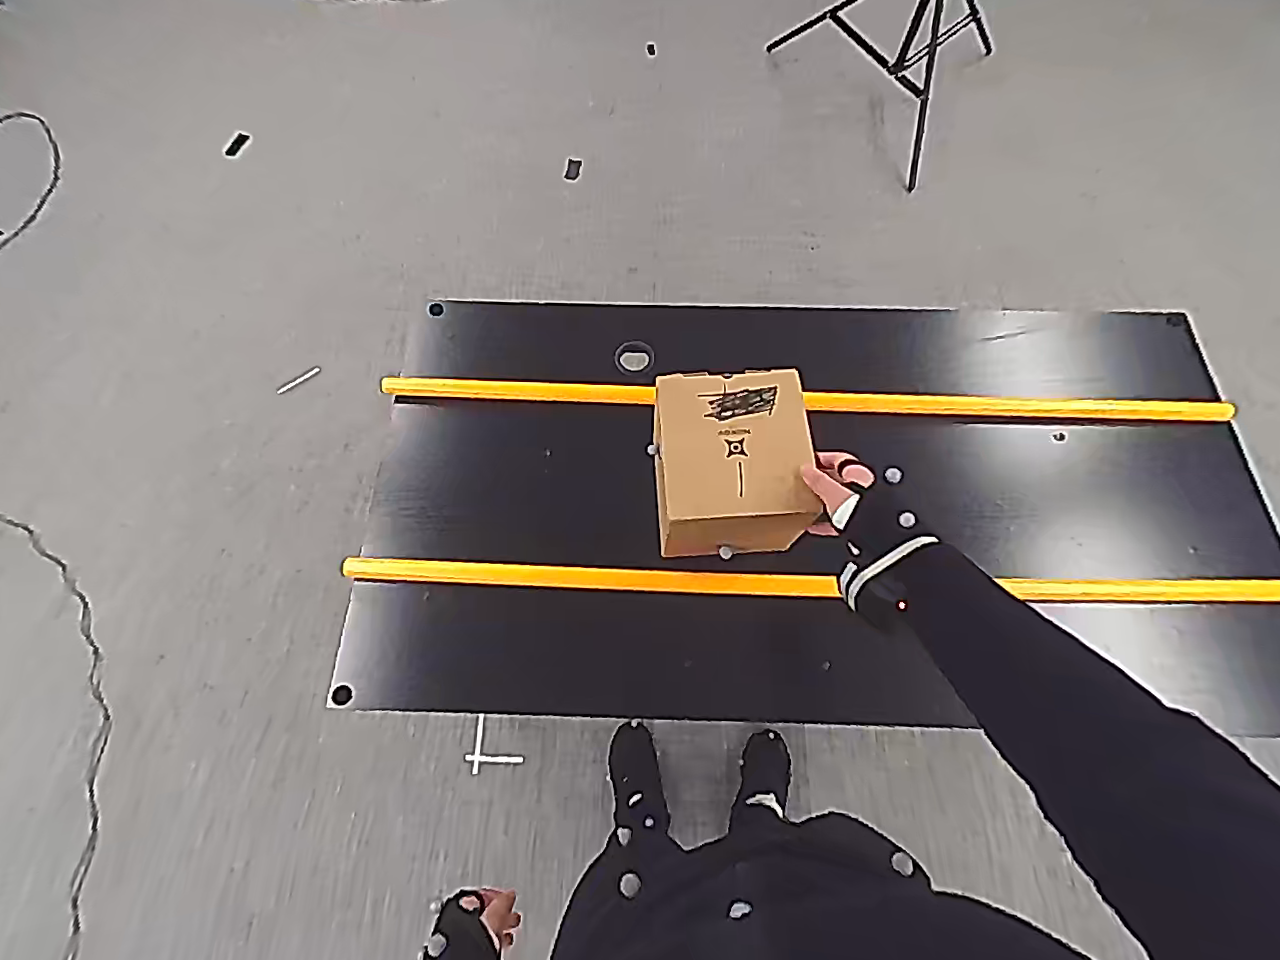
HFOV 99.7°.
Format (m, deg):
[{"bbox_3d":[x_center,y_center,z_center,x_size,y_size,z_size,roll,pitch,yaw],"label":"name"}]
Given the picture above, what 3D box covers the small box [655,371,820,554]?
[{"bbox_3d":[0.106,-0.015,0.673,0.168,0.176,0.179,-3,69,0],"label":"small box"}]
